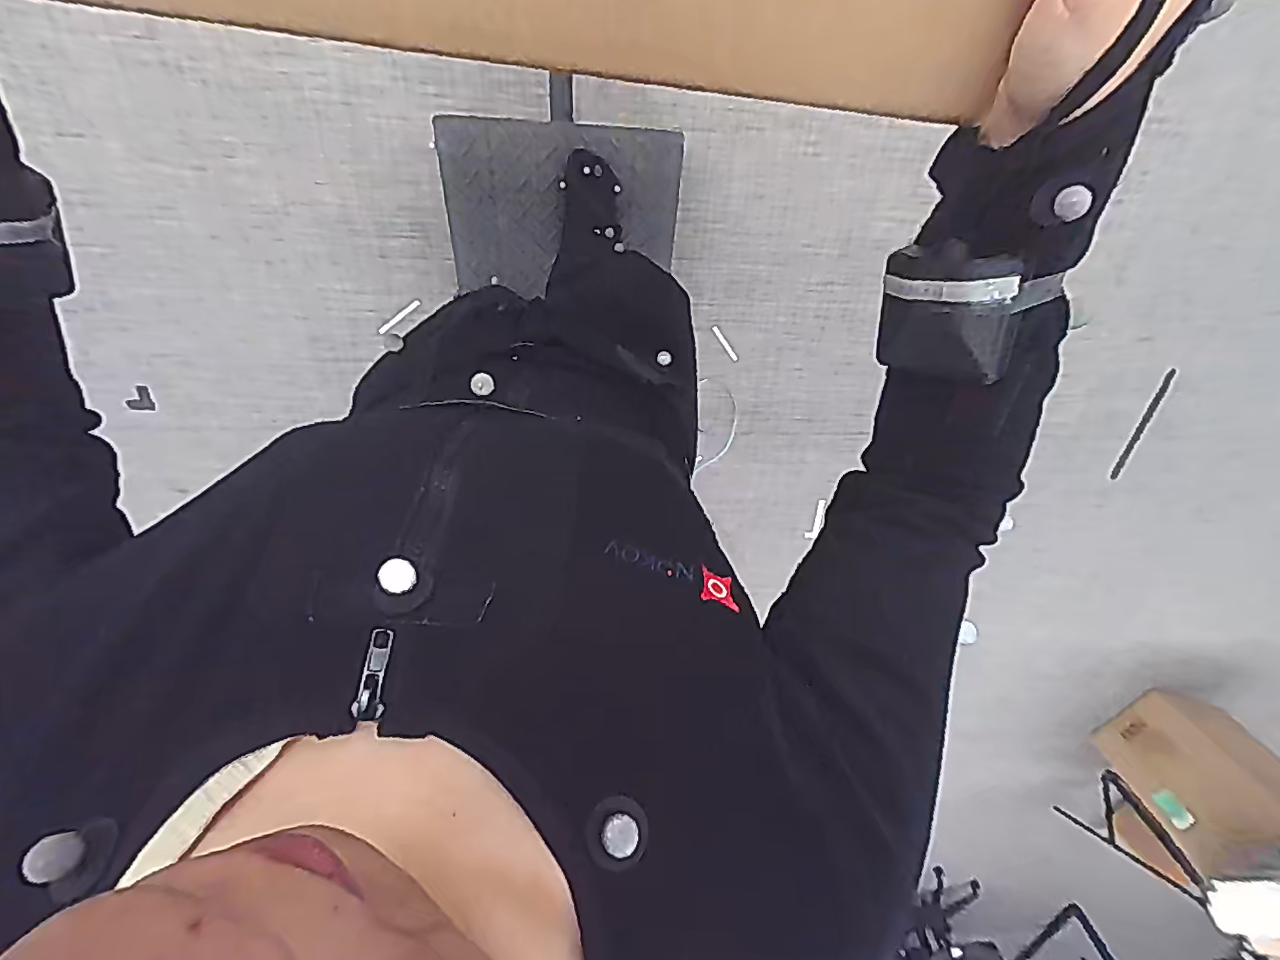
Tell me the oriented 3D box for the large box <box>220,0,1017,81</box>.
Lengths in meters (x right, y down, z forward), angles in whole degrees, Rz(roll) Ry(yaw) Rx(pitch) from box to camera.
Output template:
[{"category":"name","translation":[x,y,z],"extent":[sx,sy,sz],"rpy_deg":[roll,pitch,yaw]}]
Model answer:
[{"category":"large box","translation":[-0.040,-0.393,0.205],"extent":[0.408,0.320,0.320],"rpy_deg":[3,138,-6]}]

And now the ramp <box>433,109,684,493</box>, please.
[{"category":"ramp","translation":[-0.185,-0.332,1.374],"extent":[0.509,0.206,0.991],"rpy_deg":[-1,122,-5]}]
